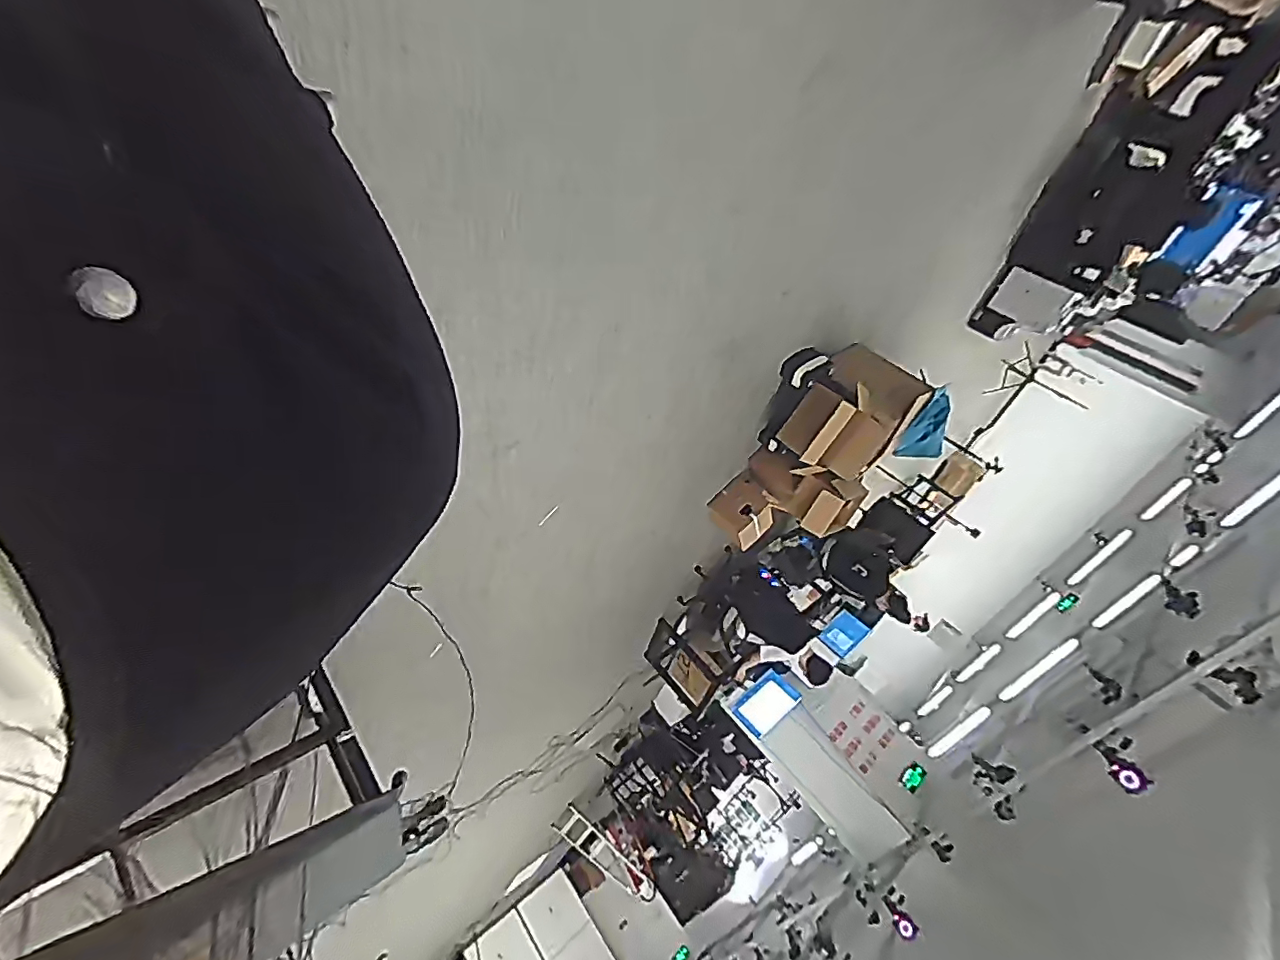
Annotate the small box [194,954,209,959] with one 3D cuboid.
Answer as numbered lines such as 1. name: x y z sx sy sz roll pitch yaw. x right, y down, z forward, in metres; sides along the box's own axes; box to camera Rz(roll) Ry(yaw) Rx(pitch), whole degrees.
1. small box: -1.179 1.370 1.376 0.179 0.176 0.168 -19 139 -40
